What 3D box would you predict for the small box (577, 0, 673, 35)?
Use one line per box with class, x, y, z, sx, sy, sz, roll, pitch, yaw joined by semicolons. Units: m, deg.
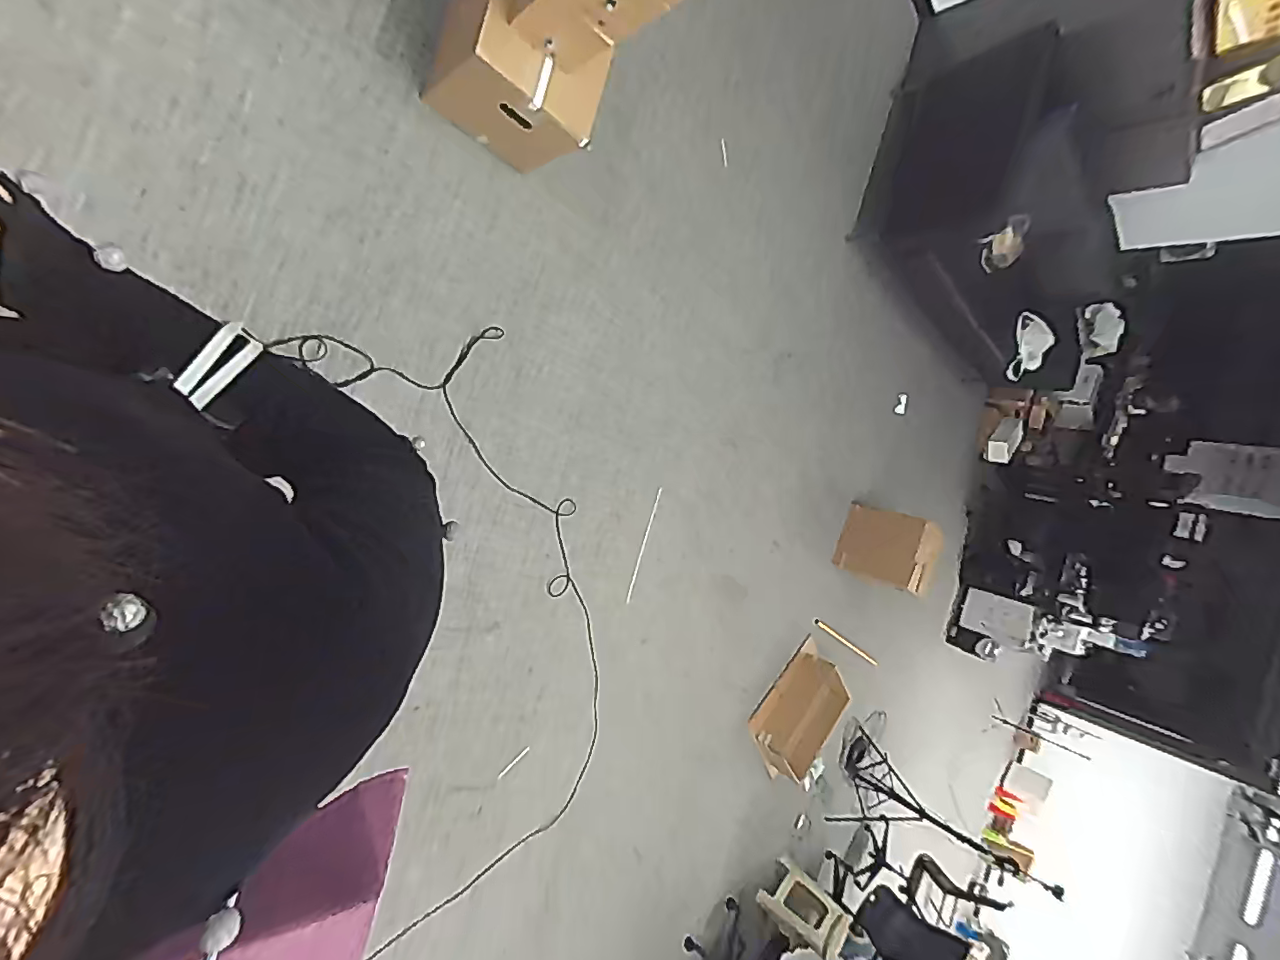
small box;-0.034;-1.009;1.030;0.168;0.176;0.179;6;98;-42
